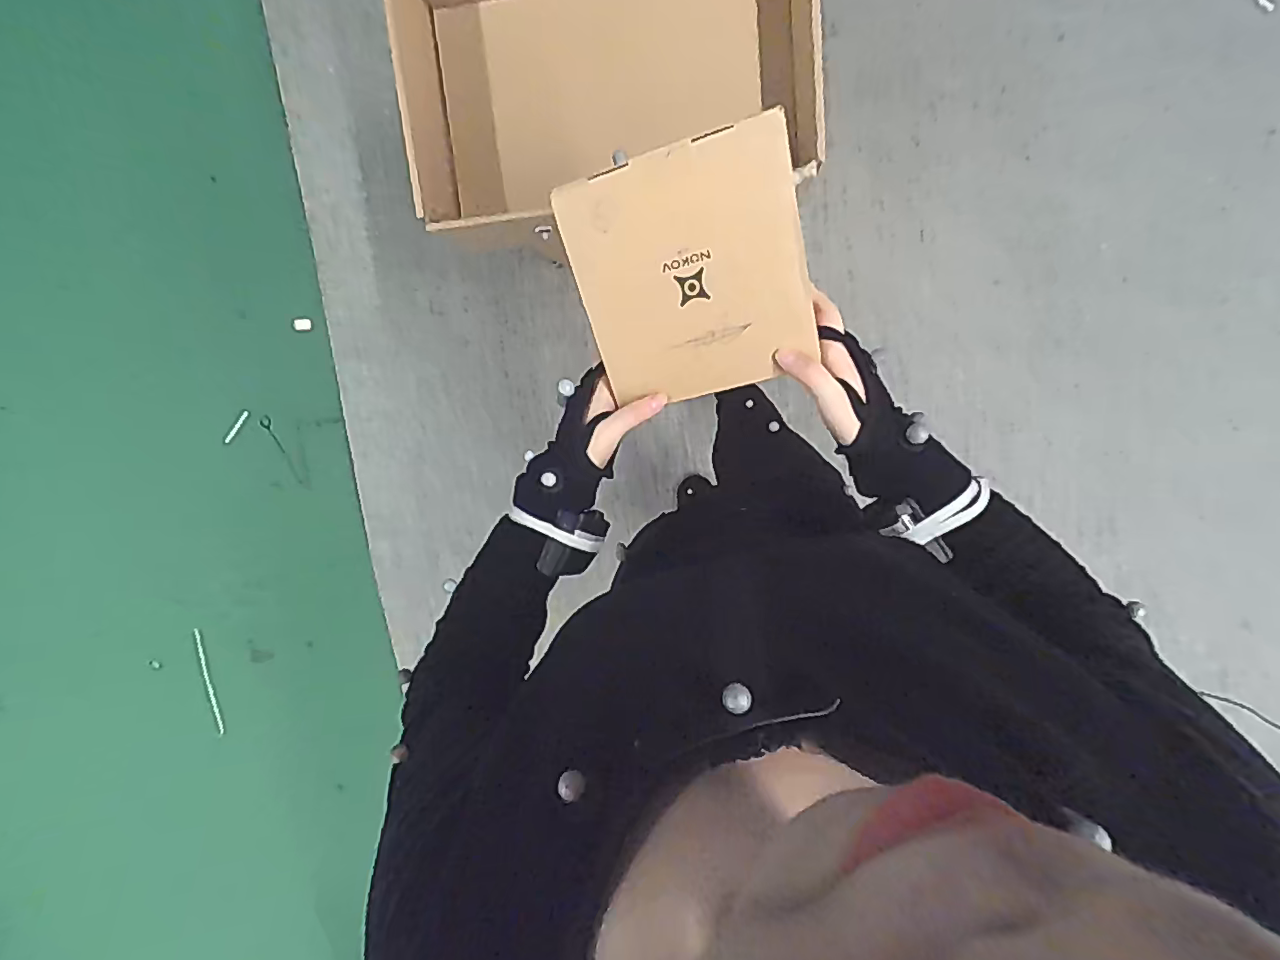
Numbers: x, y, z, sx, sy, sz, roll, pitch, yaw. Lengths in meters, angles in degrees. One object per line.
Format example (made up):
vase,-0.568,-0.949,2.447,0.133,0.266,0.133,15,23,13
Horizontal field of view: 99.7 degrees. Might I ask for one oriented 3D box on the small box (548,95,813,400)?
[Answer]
small box,0.042,-0.191,0.467,0.168,0.176,0.179,-11,115,14
